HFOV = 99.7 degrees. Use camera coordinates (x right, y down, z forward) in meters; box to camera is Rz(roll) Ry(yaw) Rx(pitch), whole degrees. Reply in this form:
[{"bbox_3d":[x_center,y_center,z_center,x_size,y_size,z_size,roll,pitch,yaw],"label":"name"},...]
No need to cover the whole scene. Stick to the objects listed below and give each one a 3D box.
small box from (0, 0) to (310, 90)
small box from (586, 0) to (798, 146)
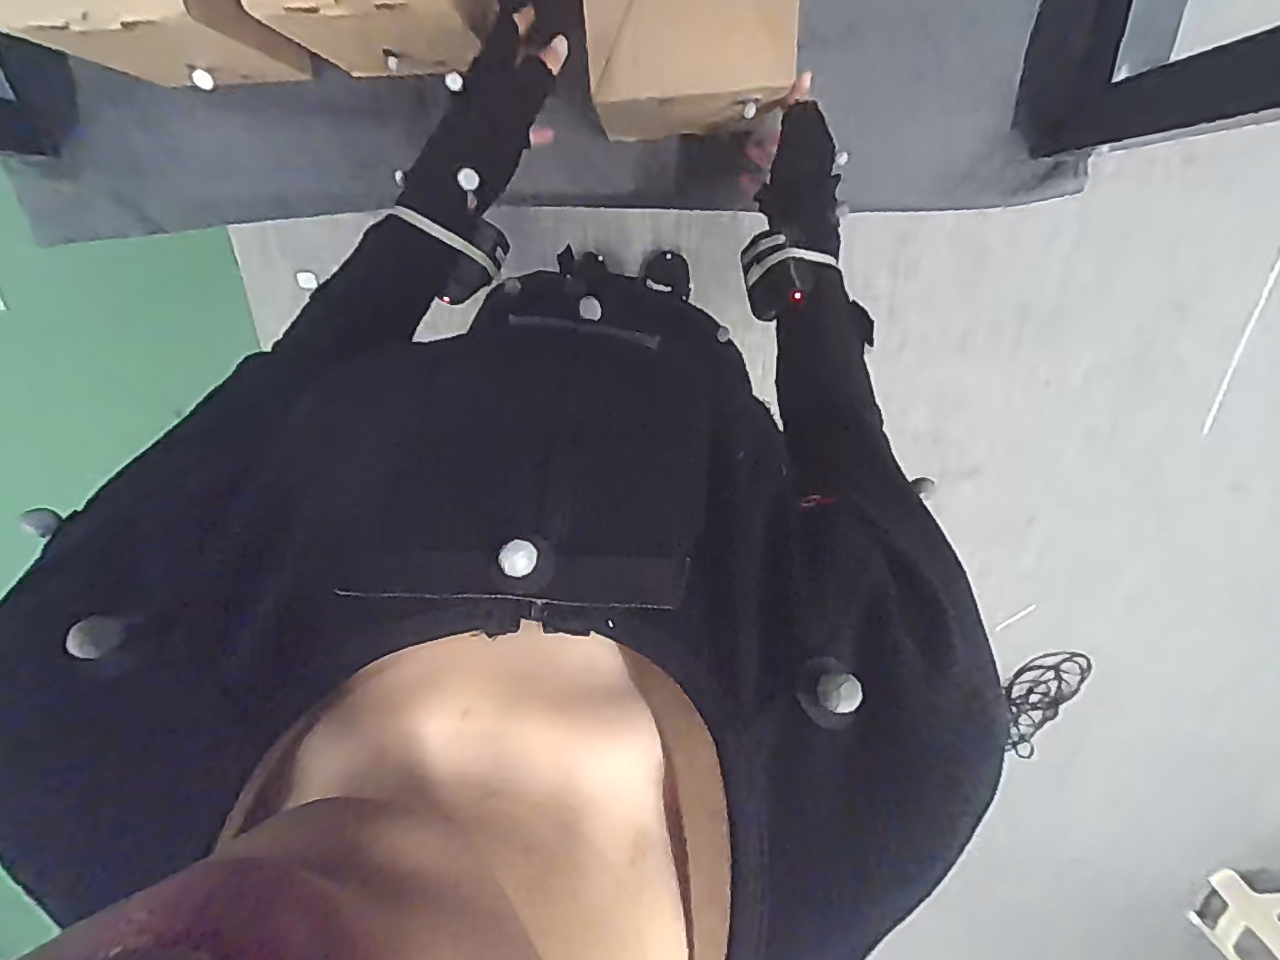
[{"bbox_3d":[-0.433,-0.472,0.474,0.168,0.176,0.179,-1,113,2],"label":"small box"},{"bbox_3d":[0.041,-0.420,0.480,0.168,0.176,0.179,-2,112,3],"label":"small box"}]
